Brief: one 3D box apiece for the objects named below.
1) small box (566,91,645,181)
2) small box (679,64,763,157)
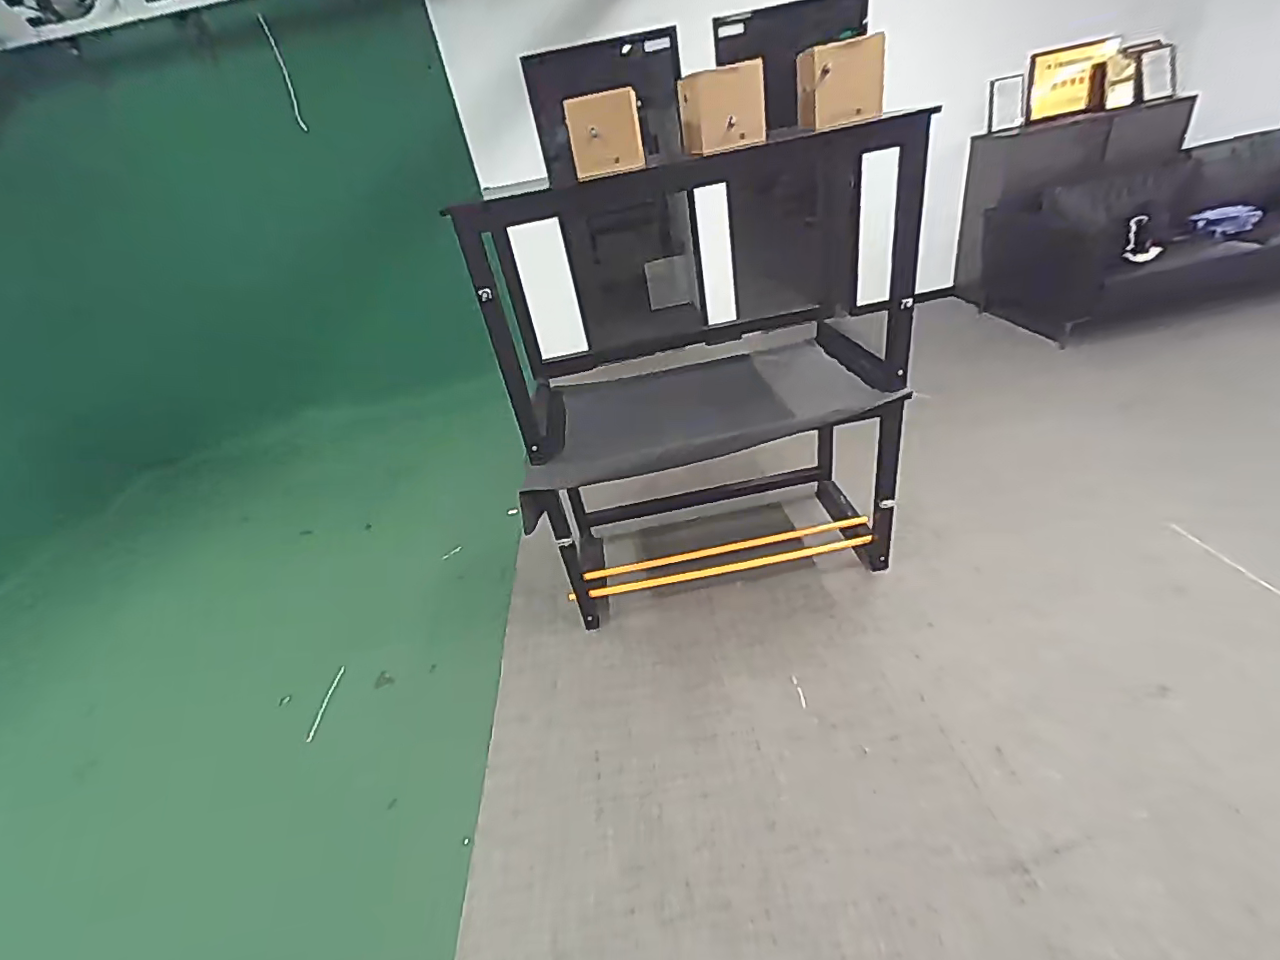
[{"bbox_3d":[-0.082,-0.886,1.403,0.168,0.176,0.179,-7,32,7],"label":"small box"},{"bbox_3d":[0.207,-0.937,1.385,0.168,0.176,0.179,-14,32,-3],"label":"small box"}]
